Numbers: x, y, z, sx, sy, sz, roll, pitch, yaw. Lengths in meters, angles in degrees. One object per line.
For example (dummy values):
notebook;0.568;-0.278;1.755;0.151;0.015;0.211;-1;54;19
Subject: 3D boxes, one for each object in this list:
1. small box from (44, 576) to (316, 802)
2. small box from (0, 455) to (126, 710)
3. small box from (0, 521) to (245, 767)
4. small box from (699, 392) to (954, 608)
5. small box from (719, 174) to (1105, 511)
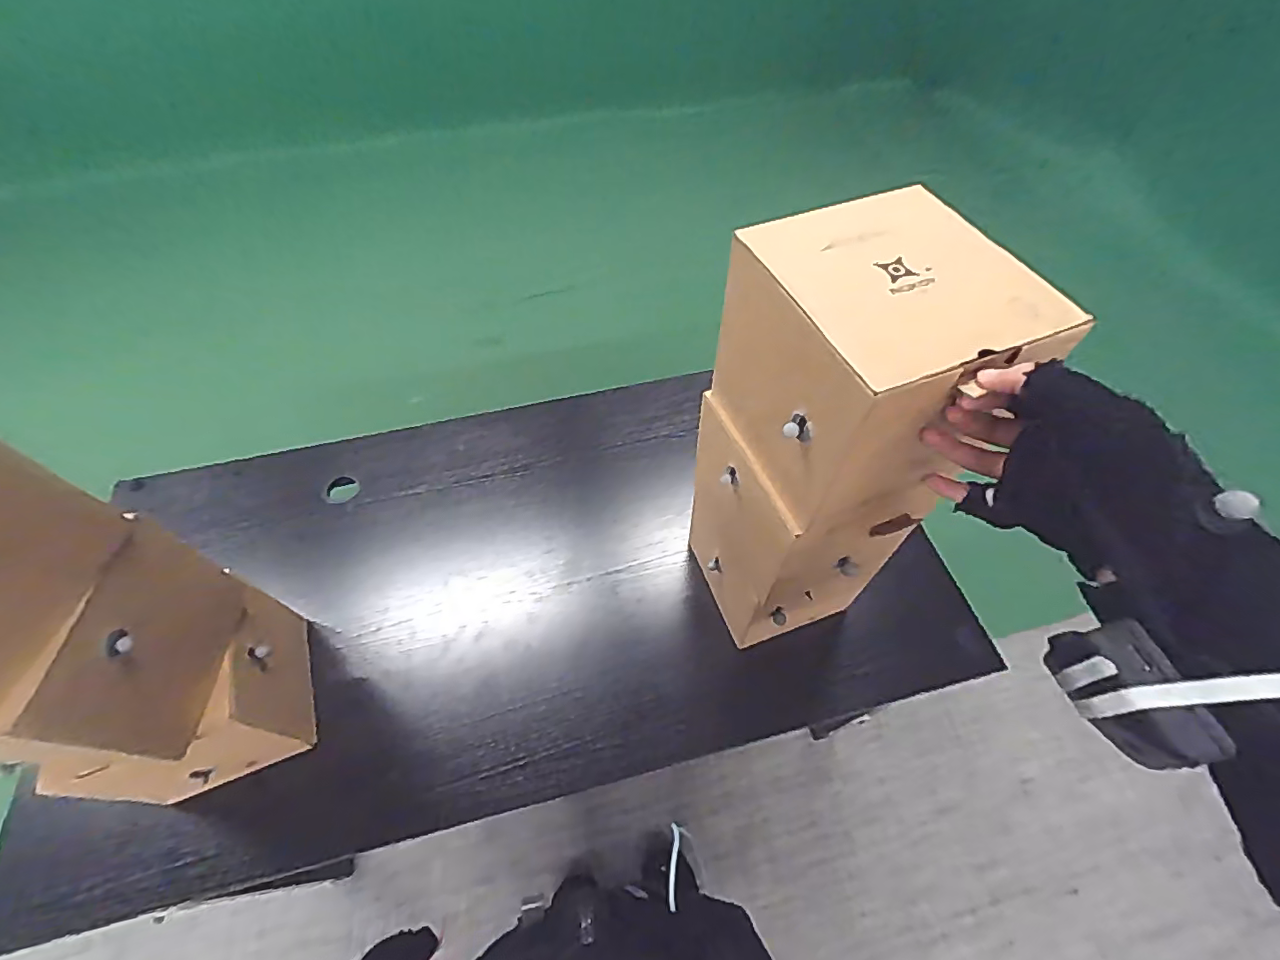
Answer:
small box;-0.499;0.242;0.618;0.168;0.176;0.179;-19;60;-12
small box;-0.508;0.058;0.346;0.168;0.176;0.179;8;59;4
small box;-0.503;0.153;0.481;0.168;0.176;0.179;-1;57;-1
small box;0.171;0.005;0.568;0.168;0.176;0.179;-19;58;-11
small box;0.175;-0.096;0.418;0.168;0.176;0.179;-19;58;-11
